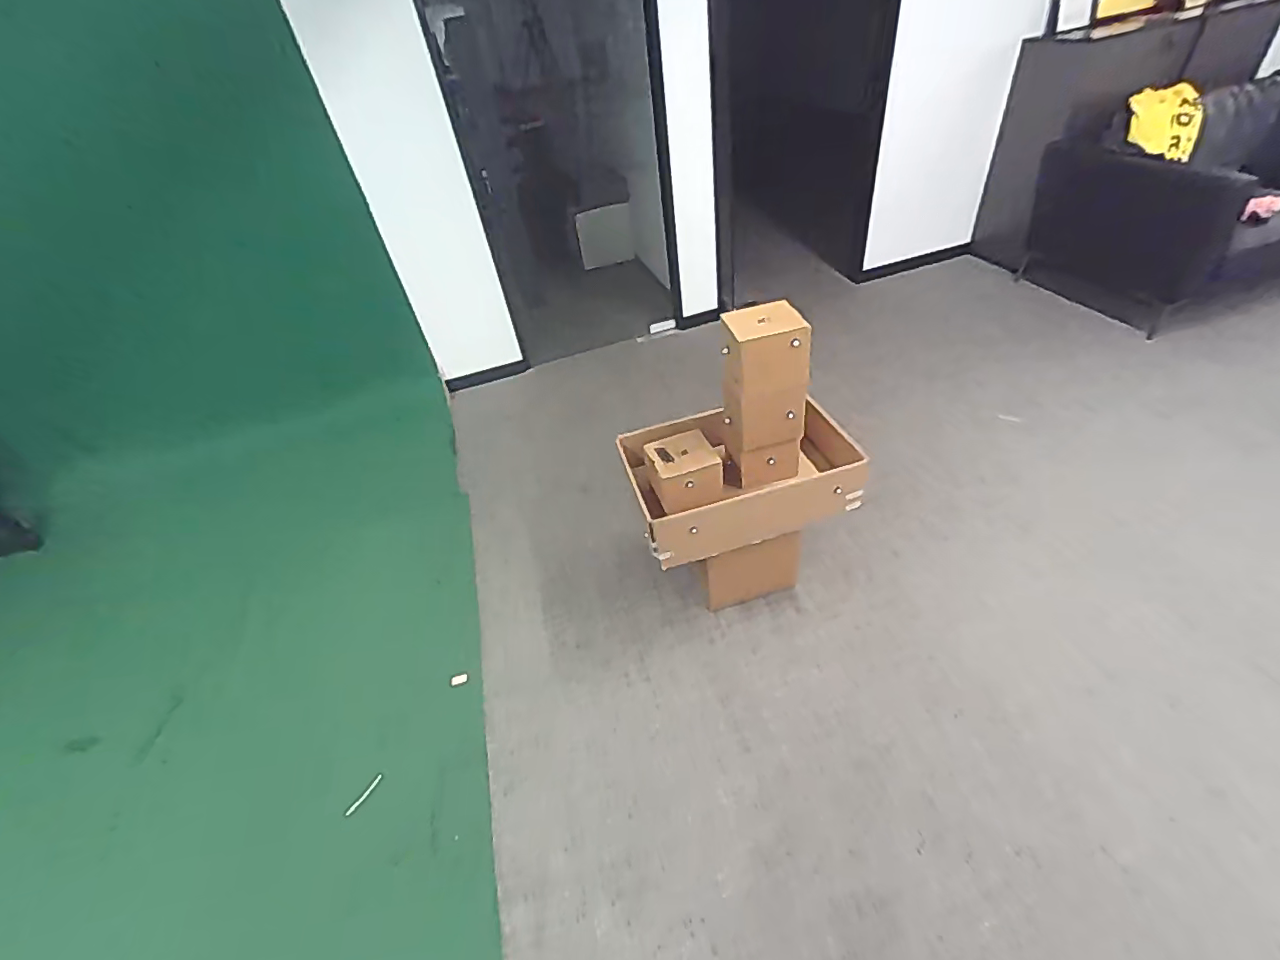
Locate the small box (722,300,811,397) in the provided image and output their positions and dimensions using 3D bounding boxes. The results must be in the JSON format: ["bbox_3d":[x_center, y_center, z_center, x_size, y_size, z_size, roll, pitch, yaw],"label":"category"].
[{"bbox_3d":[0.317,-0.329,1.366,0.179,0.176,0.168,-13,41,-1],"label":"small box"}]

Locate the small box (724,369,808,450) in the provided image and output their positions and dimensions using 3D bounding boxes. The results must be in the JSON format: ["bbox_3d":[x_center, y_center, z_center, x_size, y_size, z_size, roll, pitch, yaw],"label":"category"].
[{"bbox_3d":[0.339,-0.209,1.473,0.179,0.176,0.168,-15,41,-2],"label":"small box"}]
